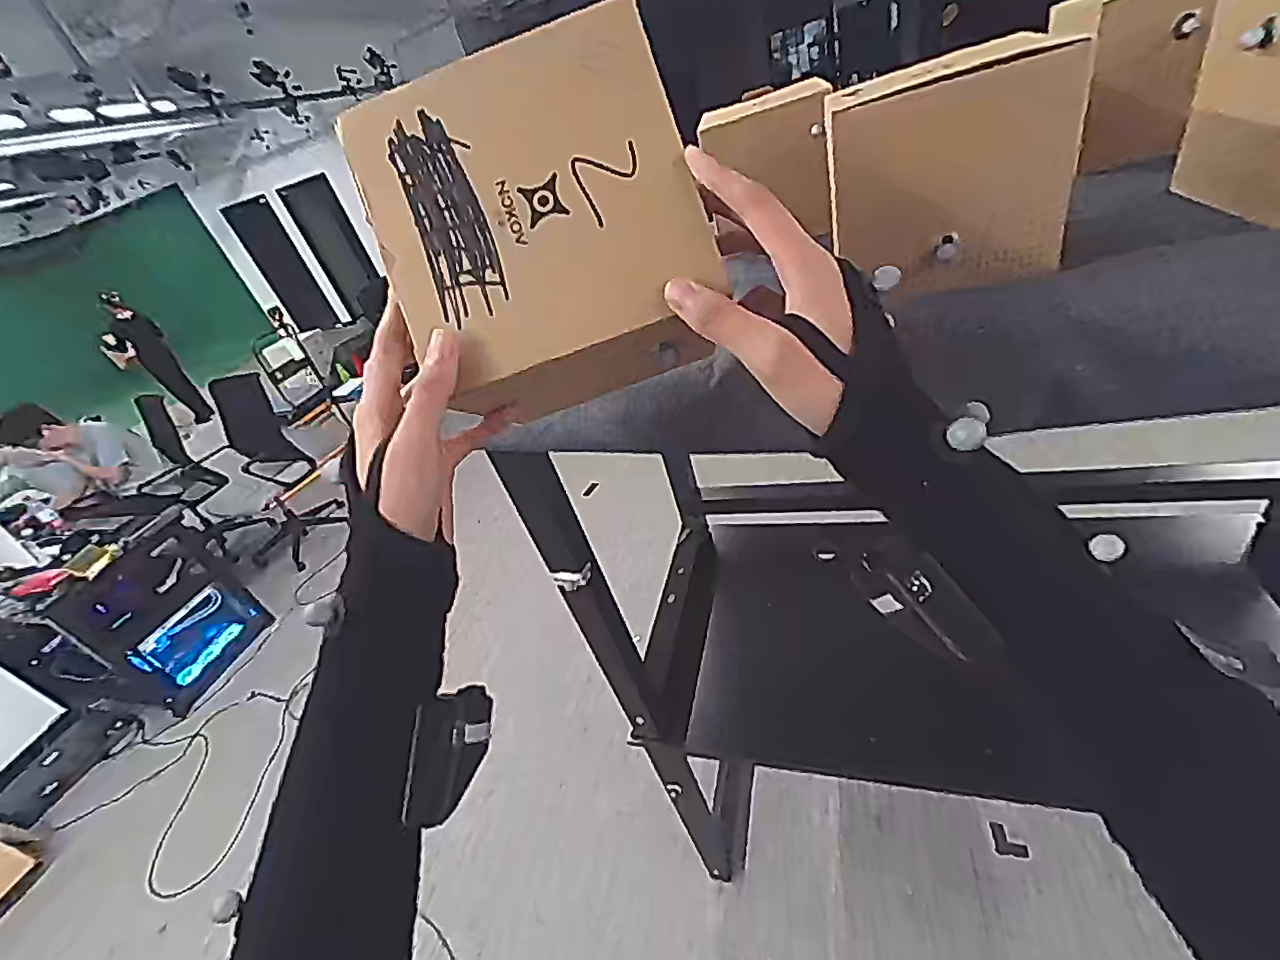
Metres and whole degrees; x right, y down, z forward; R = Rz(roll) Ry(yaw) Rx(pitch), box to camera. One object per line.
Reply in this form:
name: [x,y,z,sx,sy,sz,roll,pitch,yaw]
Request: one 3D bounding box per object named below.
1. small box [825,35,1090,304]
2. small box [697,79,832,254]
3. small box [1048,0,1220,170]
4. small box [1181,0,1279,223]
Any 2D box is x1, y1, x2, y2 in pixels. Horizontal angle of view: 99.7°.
small box: [0.268,-0.283,0.504,0.179,0.176,0.168,-3,36,20]
small box: [0.183,-0.439,0.766,0.168,0.176,0.179,-9,35,17]
small box: [0.590,-0.479,0.622,0.179,0.176,0.168,-3,38,22]
small box: [0.558,-0.304,0.394,0.168,0.176,0.179,-5,35,20]
